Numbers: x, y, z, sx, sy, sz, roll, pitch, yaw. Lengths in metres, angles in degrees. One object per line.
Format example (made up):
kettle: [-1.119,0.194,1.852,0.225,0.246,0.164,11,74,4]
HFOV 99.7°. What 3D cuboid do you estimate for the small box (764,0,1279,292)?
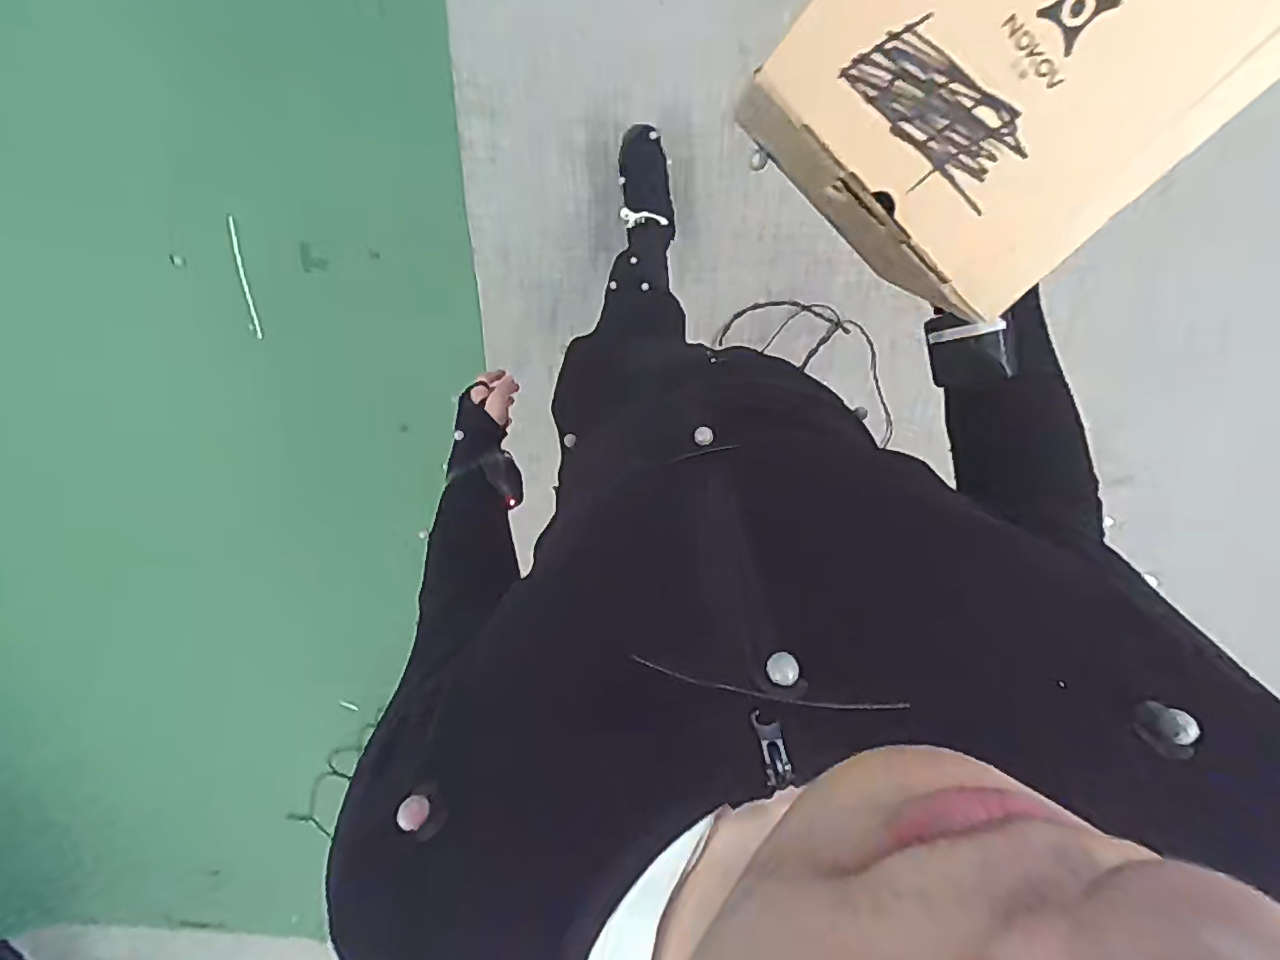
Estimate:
small box: [0.183,-0.232,0.288,0.168,0.176,0.179,39,113,-14]
